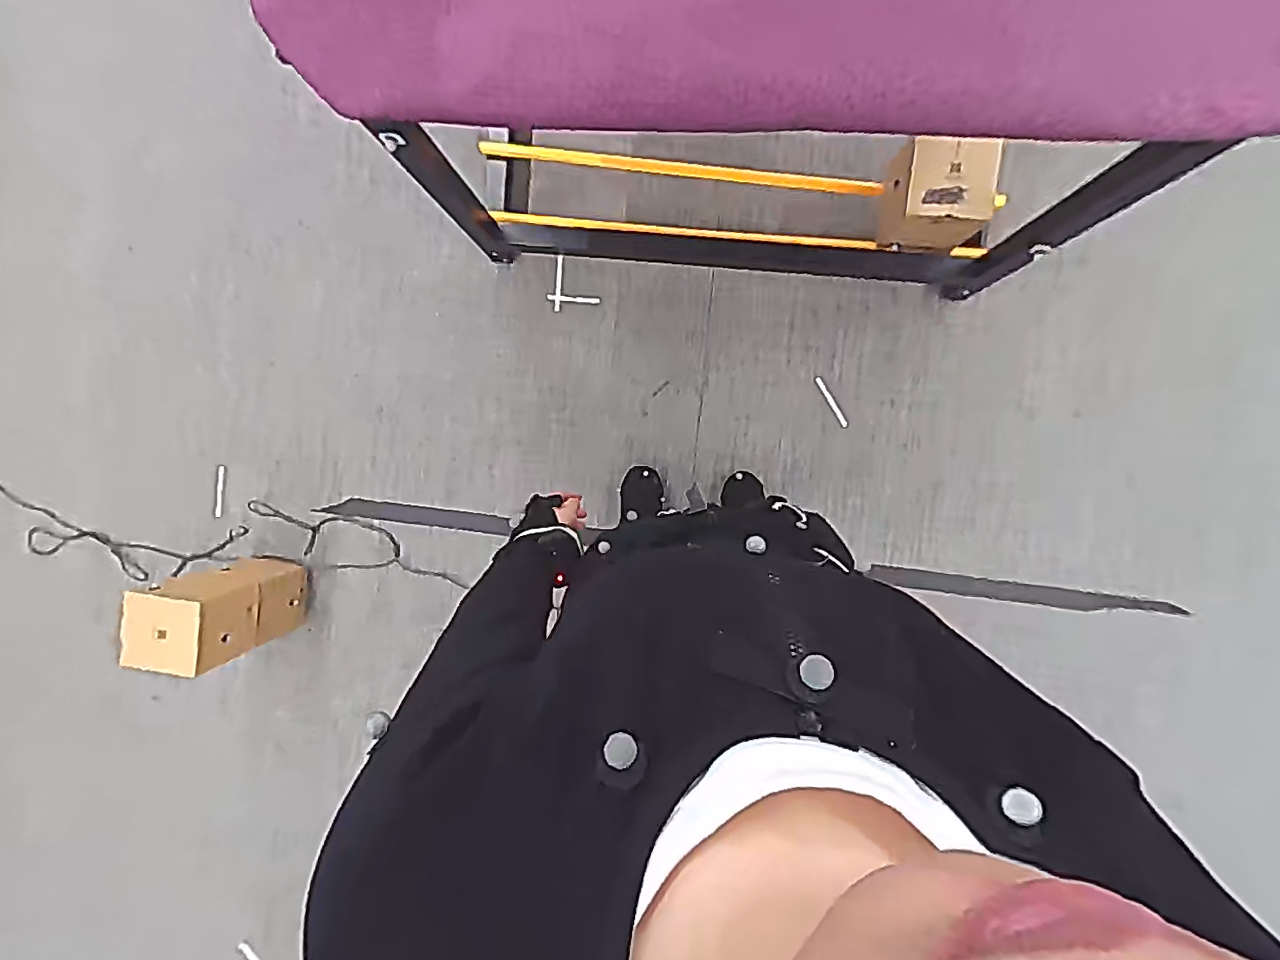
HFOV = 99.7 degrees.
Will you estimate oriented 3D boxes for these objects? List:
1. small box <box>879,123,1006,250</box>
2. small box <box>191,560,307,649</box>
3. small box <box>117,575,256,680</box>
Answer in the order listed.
[{"bbox_3d":[0.610,-0.594,1.115,0.168,0.176,0.179,7,92,4],"label":"small box"},{"bbox_3d":[-0.986,0.306,1.365,0.179,0.176,0.168,8,95,3],"label":"small box"},{"bbox_3d":[-0.997,0.319,1.203,0.179,0.176,0.168,7,95,4],"label":"small box"}]
